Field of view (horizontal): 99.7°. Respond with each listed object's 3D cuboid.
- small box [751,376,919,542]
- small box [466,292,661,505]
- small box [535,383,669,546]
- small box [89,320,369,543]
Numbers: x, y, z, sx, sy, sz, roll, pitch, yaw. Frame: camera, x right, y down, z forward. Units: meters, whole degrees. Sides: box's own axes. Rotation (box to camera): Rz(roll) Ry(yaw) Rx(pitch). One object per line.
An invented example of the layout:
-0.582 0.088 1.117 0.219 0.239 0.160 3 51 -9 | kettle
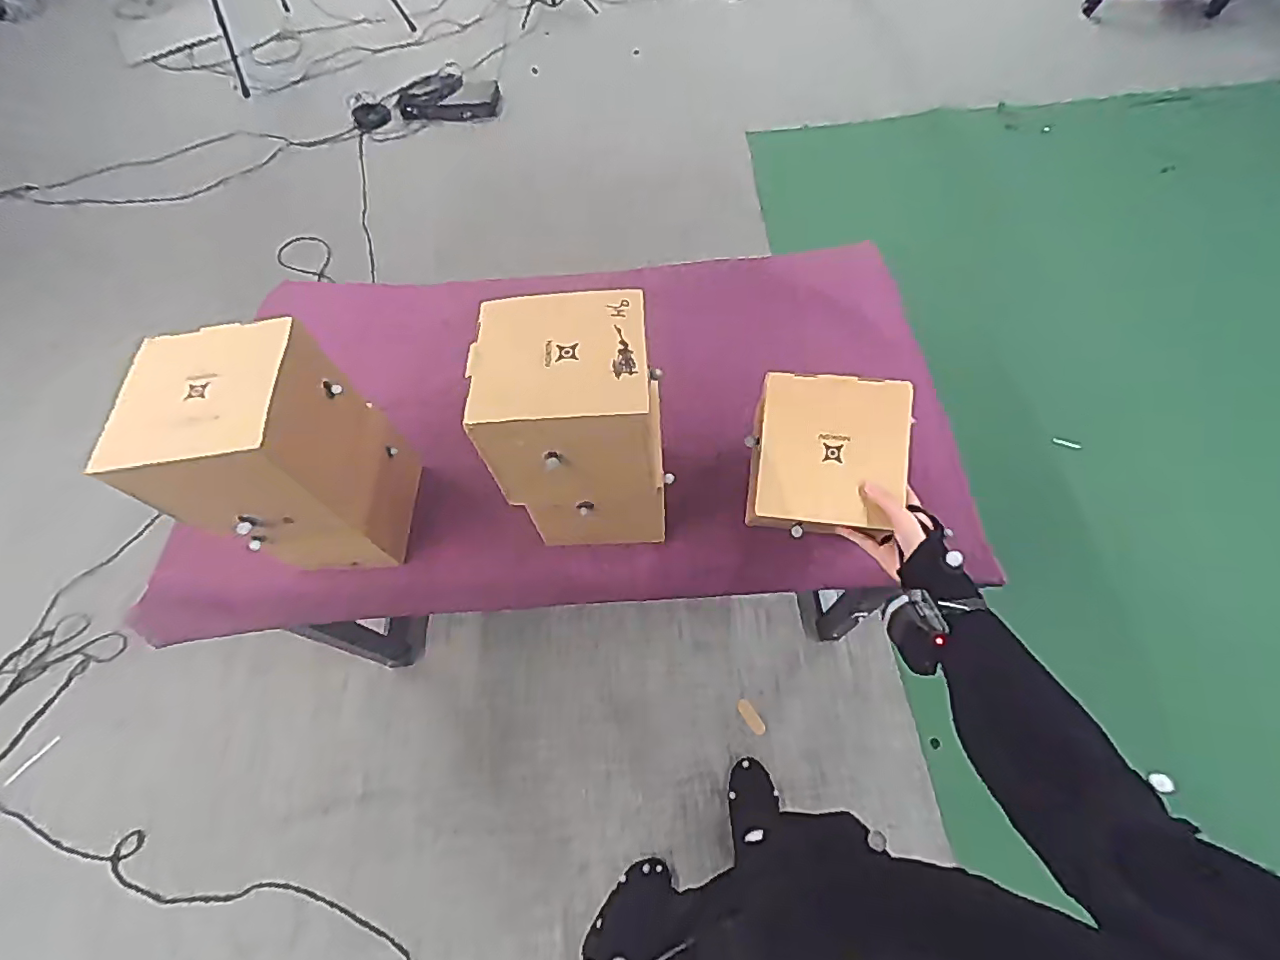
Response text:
0.236 -0.017 0.692 0.168 0.176 0.179 6 82 8 | small box
-0.070 -0.081 0.601 0.179 0.176 0.168 -4 60 3 | small box
-0.052 -0.014 0.750 0.179 0.176 0.168 -2 60 2 | small box
-0.431 -0.049 0.607 0.168 0.176 0.179 -8 60 0 | small box
